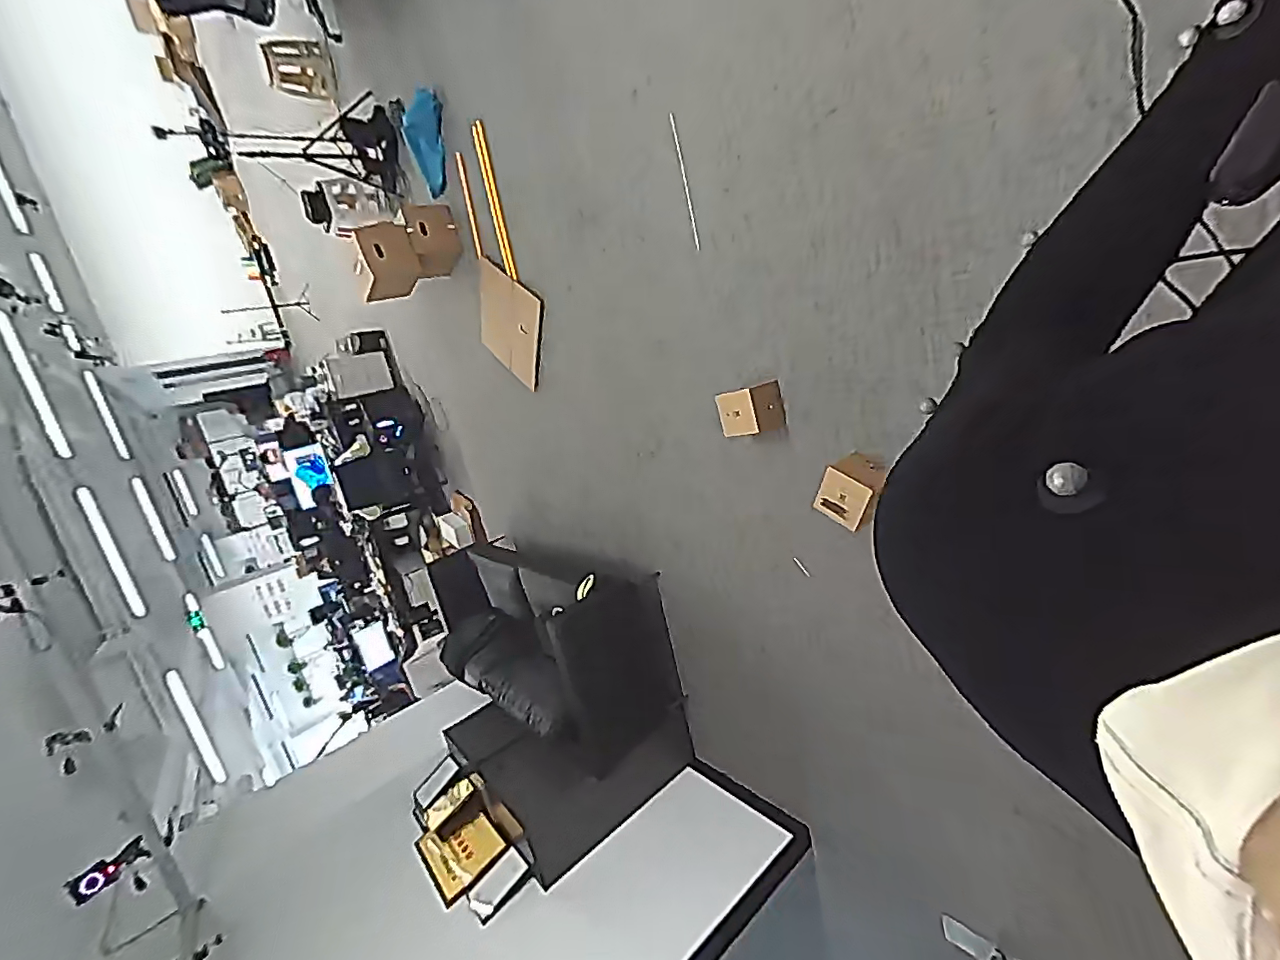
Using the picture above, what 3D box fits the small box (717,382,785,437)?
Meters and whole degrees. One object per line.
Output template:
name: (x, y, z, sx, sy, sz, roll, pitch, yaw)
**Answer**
small box: (0.425, -0.266, 2.040, 0.179, 0.176, 0.168, -2, 105, 54)
